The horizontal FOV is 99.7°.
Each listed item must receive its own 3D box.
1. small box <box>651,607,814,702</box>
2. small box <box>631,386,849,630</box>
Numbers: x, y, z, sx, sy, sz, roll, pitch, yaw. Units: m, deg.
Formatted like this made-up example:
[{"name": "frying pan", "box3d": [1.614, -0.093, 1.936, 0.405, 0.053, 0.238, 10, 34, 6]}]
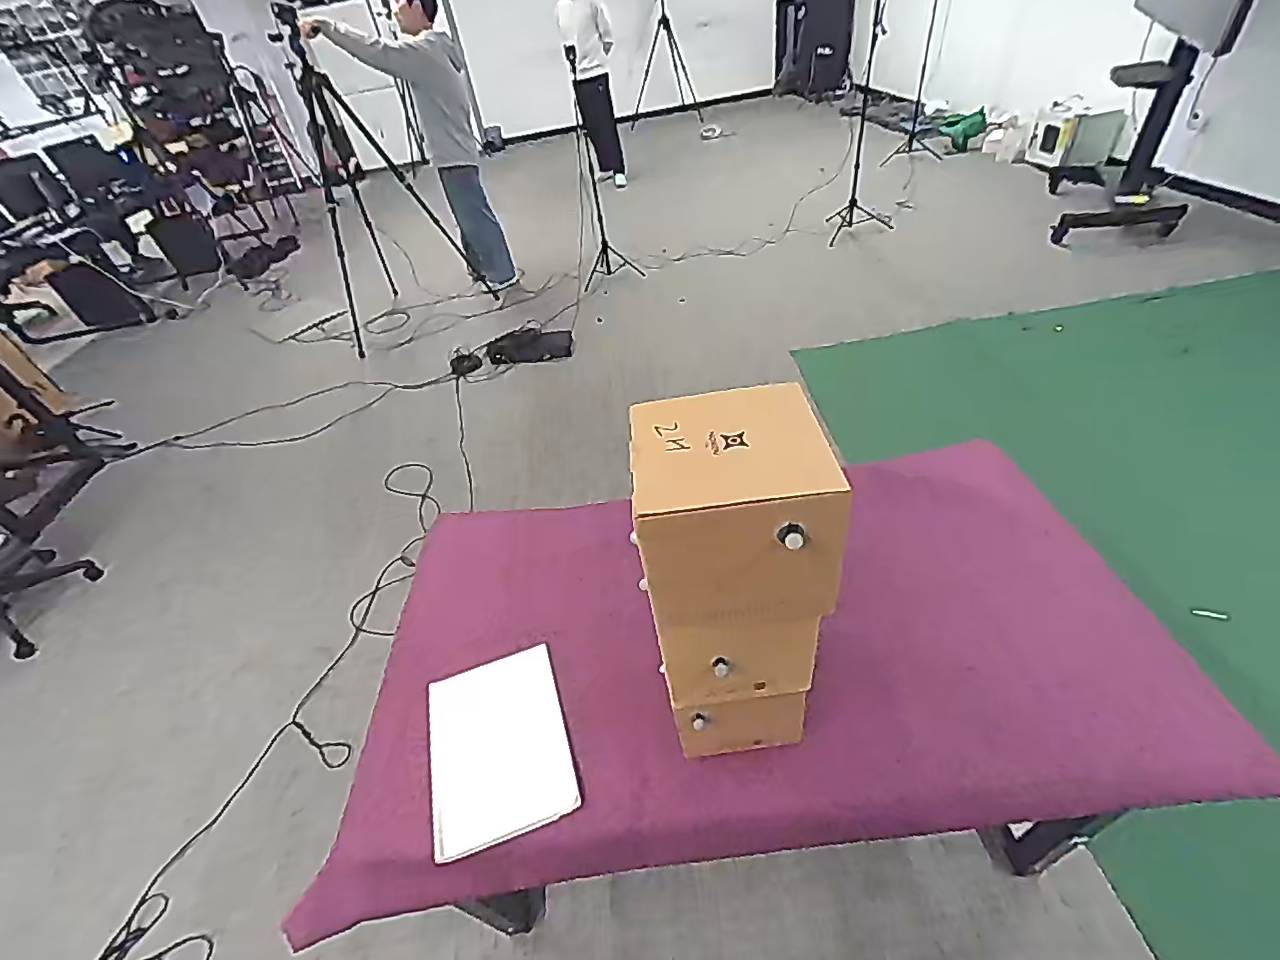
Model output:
[{"name": "small box", "box3d": [0.102, 0.150, 0.654, 0.168, 0.176, 0.179, -9, 40, 2]}, {"name": "small box", "box3d": [0.088, 0.030, 0.541, 0.179, 0.176, 0.168, -7, 40, 4]}]
